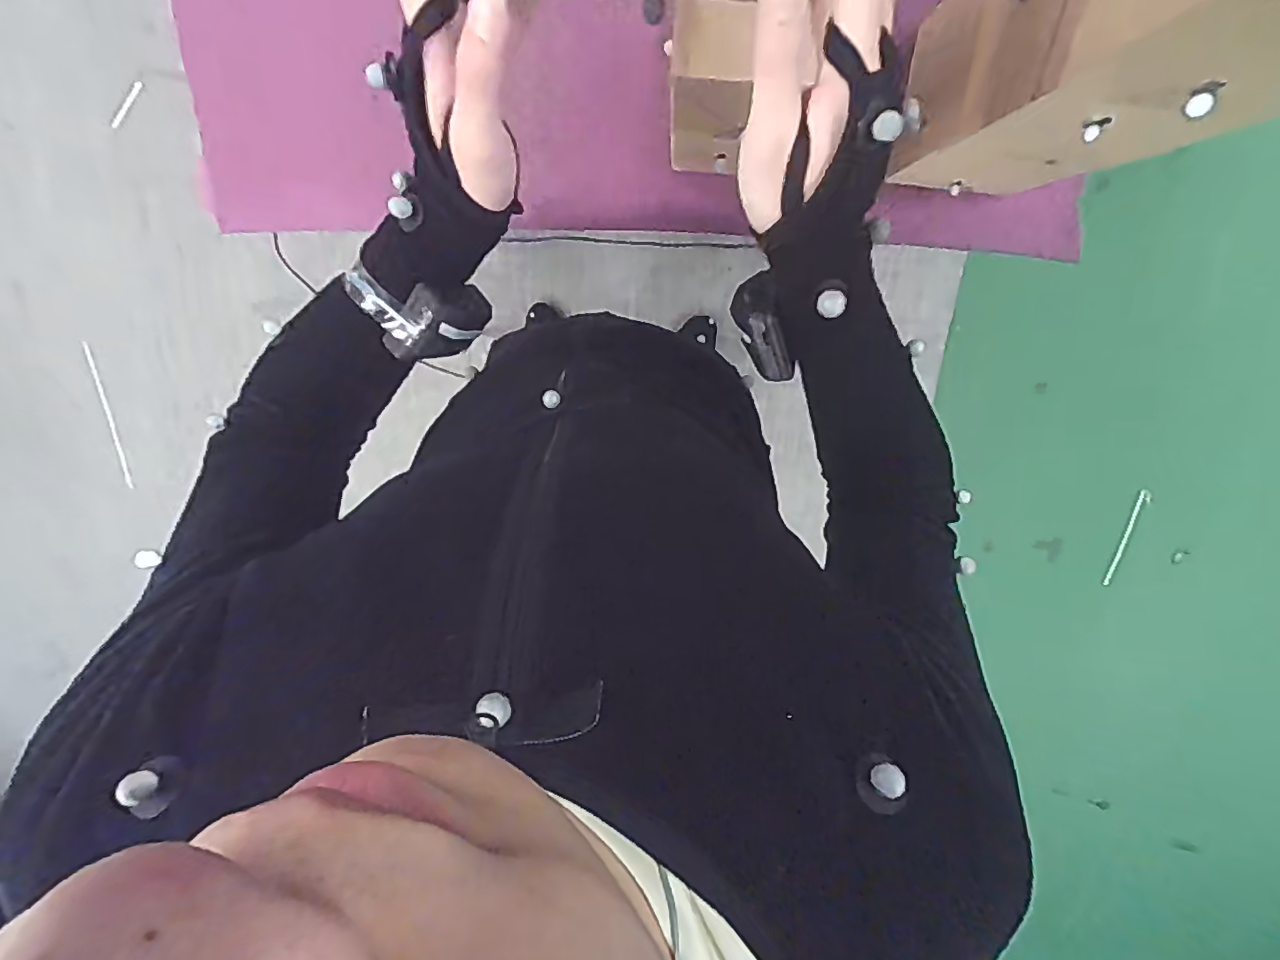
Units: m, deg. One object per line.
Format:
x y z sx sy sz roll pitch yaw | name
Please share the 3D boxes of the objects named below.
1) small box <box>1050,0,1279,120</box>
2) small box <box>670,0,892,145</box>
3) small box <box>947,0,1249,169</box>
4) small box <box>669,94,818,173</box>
0.384 -0.336 0.303 0.168 0.176 0.179 8 111 2 | small box
0.116 -0.420 0.473 0.168 0.176 0.179 6 110 3 | small box
0.396 -0.389 0.459 0.168 0.176 0.179 8 109 3 | small box
0.126 -0.472 0.628 0.168 0.176 0.179 5 109 3 | small box
